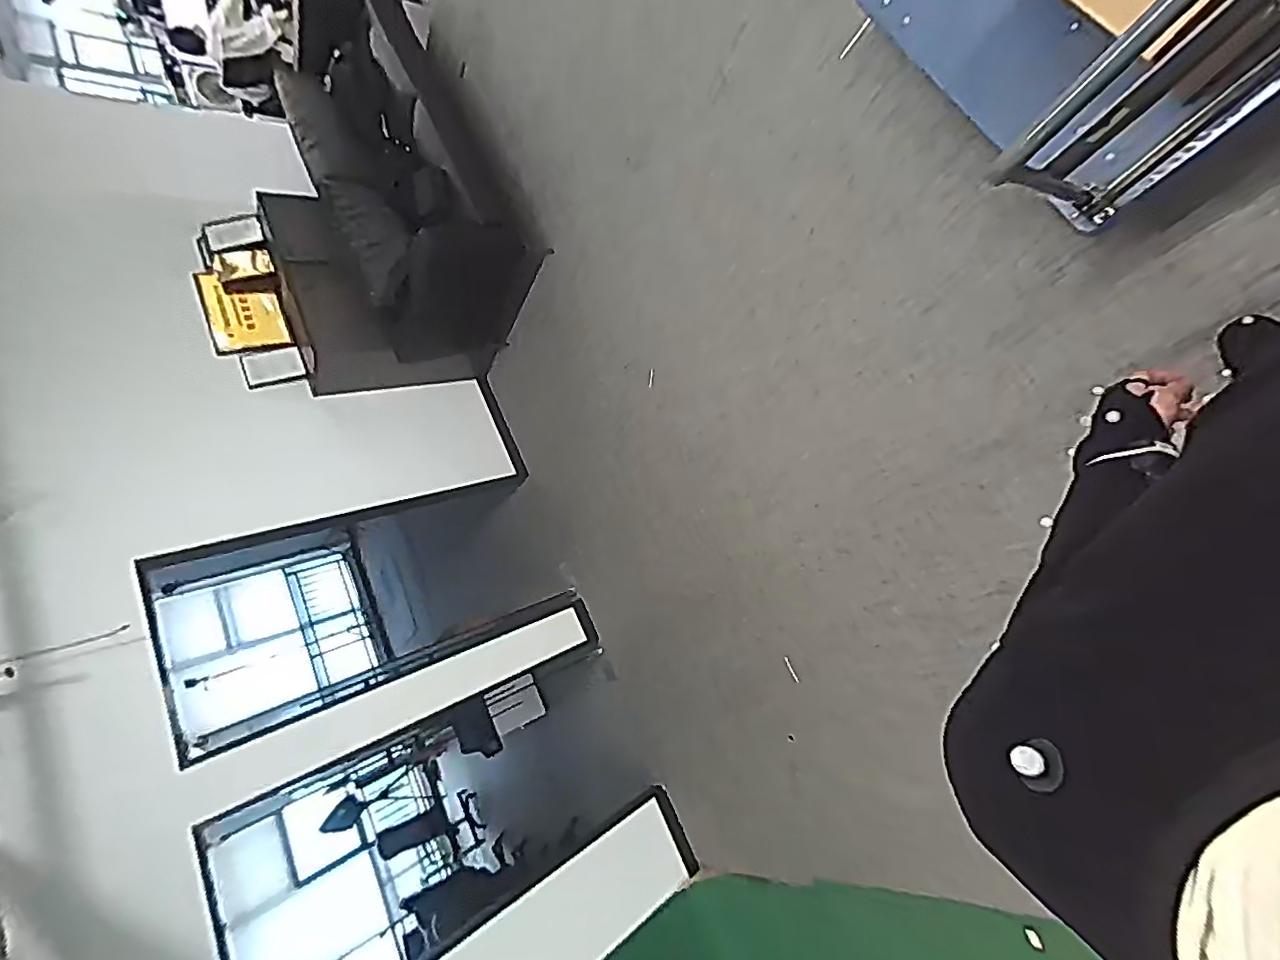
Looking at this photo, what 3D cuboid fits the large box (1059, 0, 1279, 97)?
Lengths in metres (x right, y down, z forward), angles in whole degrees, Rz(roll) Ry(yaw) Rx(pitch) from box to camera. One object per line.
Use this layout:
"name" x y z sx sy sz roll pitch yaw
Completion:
"large box" 0.856 -0.891 0.836 0.408 0.320 0.320 61 140 18
